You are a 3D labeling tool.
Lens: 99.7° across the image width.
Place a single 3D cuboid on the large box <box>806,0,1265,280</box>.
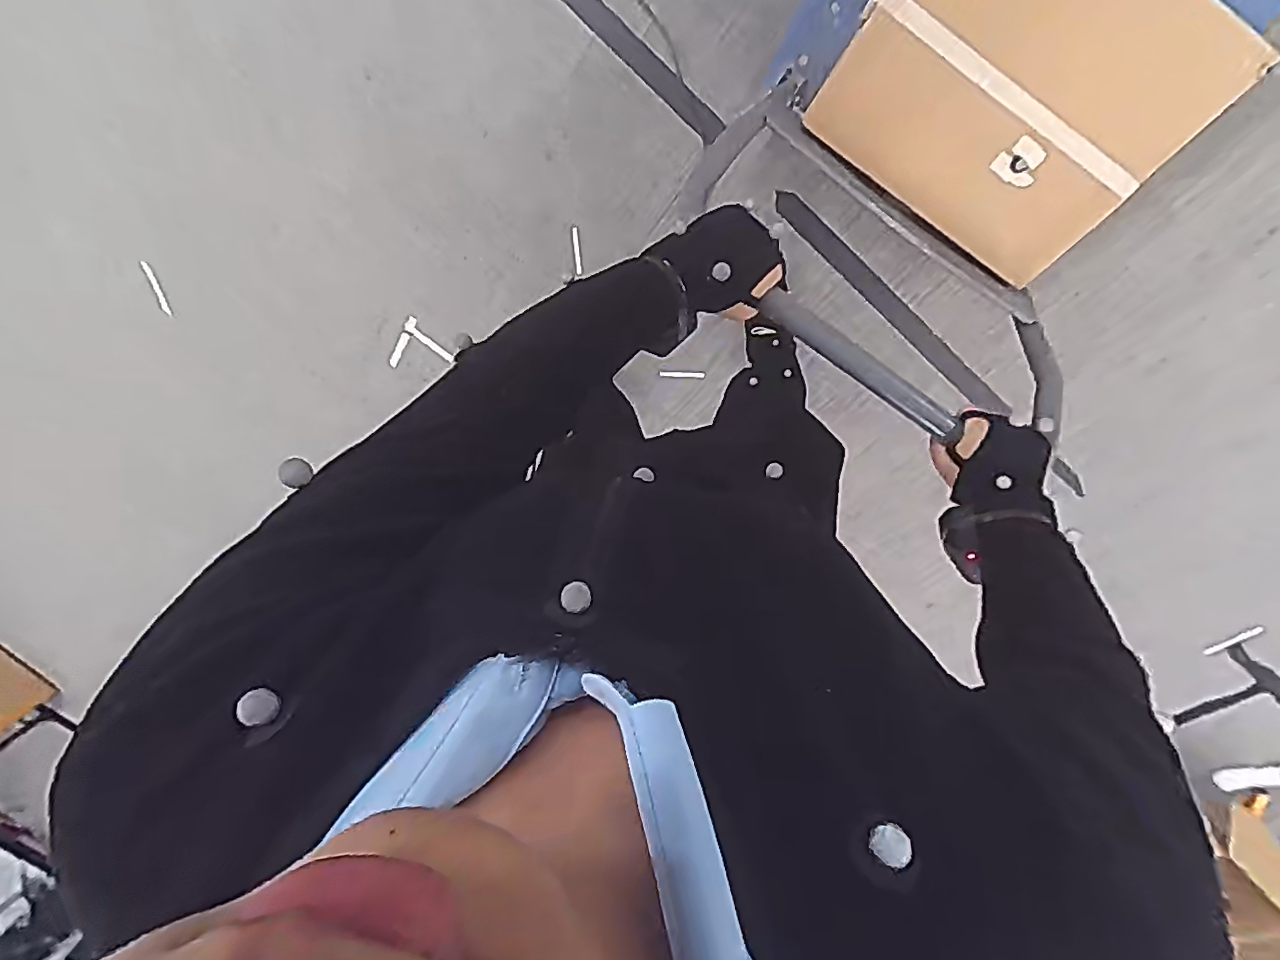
[{"bbox_3d":[0.508,-0.578,0.795,0.408,0.320,0.320,33,133,-6],"label":"large box"}]
